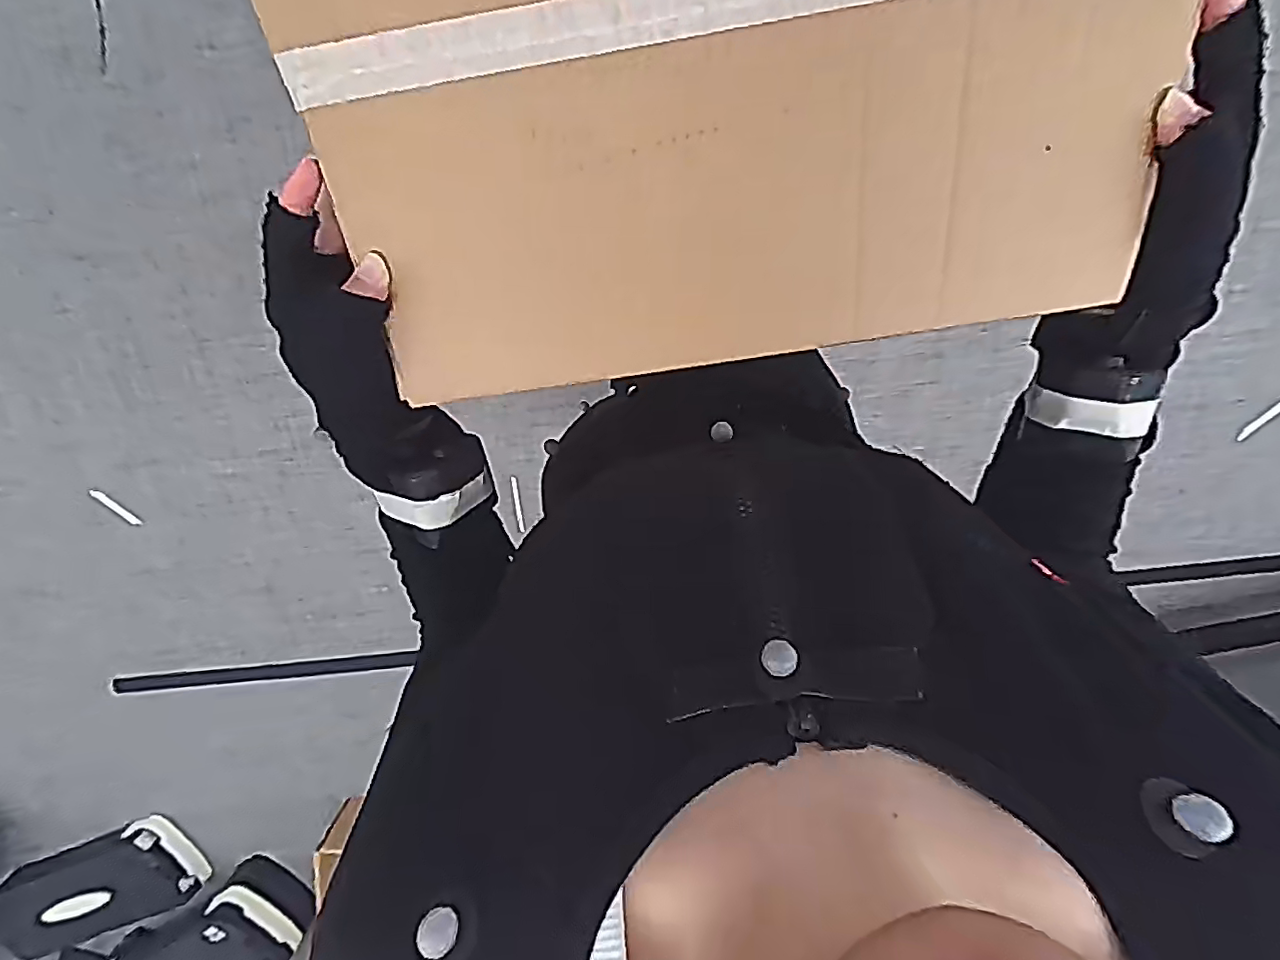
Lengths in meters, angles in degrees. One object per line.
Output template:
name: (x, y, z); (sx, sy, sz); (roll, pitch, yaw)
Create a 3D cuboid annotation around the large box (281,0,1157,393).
large box: (0.034, -0.282, 0.383); (0.408, 0.320, 0.320); (-8, 117, 3)
